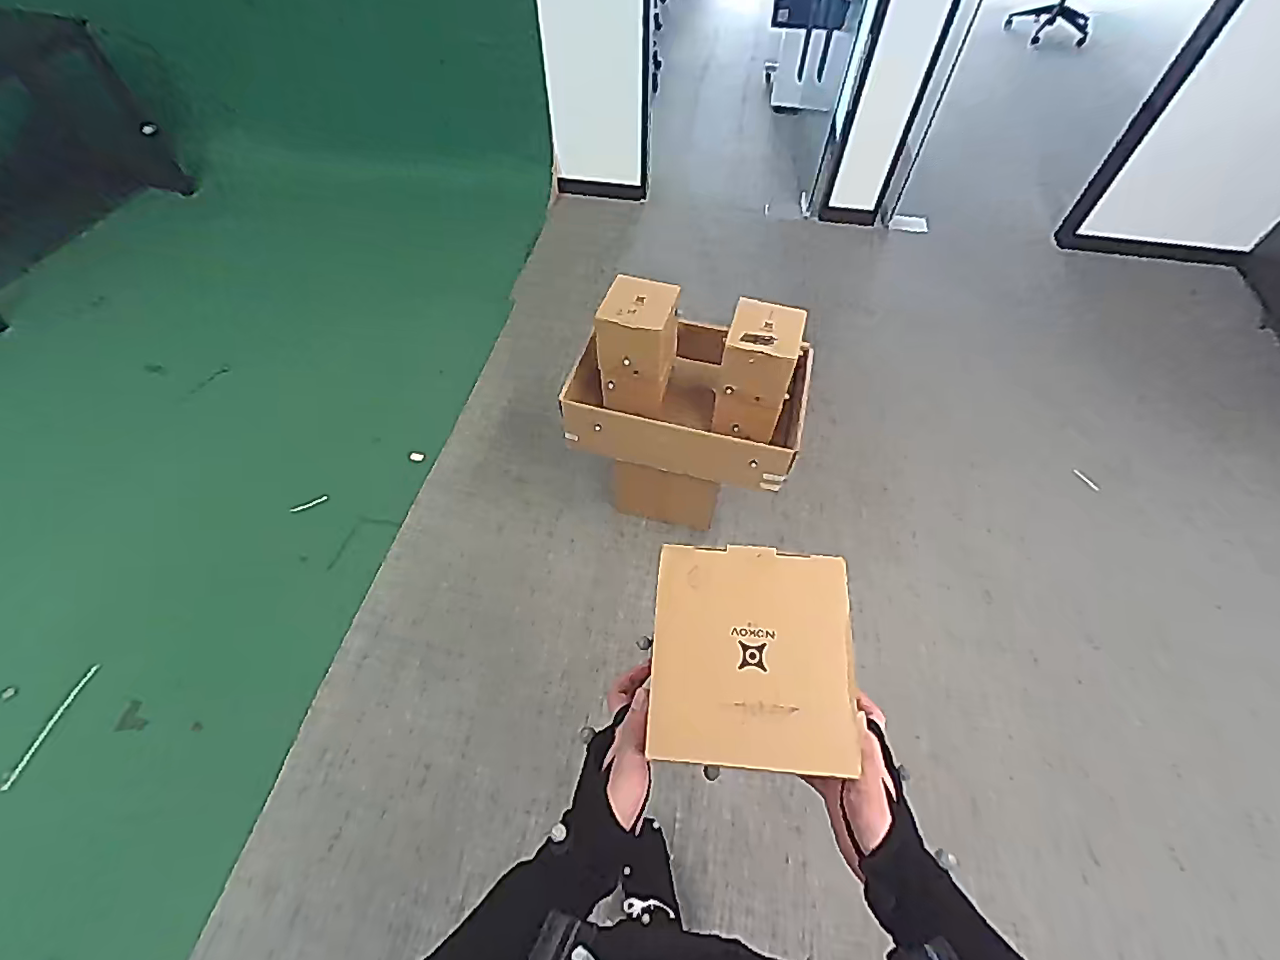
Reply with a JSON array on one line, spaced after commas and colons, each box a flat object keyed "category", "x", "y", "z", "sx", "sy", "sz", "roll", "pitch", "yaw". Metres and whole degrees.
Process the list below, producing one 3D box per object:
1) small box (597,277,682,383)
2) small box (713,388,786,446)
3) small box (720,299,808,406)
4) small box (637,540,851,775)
[{"category": "small box", "x": 0.000, "y": -0.375, "z": 1.358, "sx": 0.168, "sy": 0.176, "sz": 0.179, "roll": 15, "pitch": 58, "yaw": 10}, {"category": "small box", "x": 0.299, "y": -0.220, "z": 1.454, "sx": 0.168, "sy": 0.176, "sz": 0.179, "roll": 13, "pitch": 59, "yaw": 8}, {"category": "small box", "x": 0.295, "y": -0.305, "z": 1.312, "sx": 0.168, "sy": 0.176, "sz": 0.179, "roll": 15, "pitch": 58, "yaw": 9}, {"category": "small box", "x": 0.088, "y": 0.171, "z": 0.518, "sx": 0.168, "sy": 0.176, "sz": 0.179, "roll": 4, "pitch": 66, "yaw": 4}]
